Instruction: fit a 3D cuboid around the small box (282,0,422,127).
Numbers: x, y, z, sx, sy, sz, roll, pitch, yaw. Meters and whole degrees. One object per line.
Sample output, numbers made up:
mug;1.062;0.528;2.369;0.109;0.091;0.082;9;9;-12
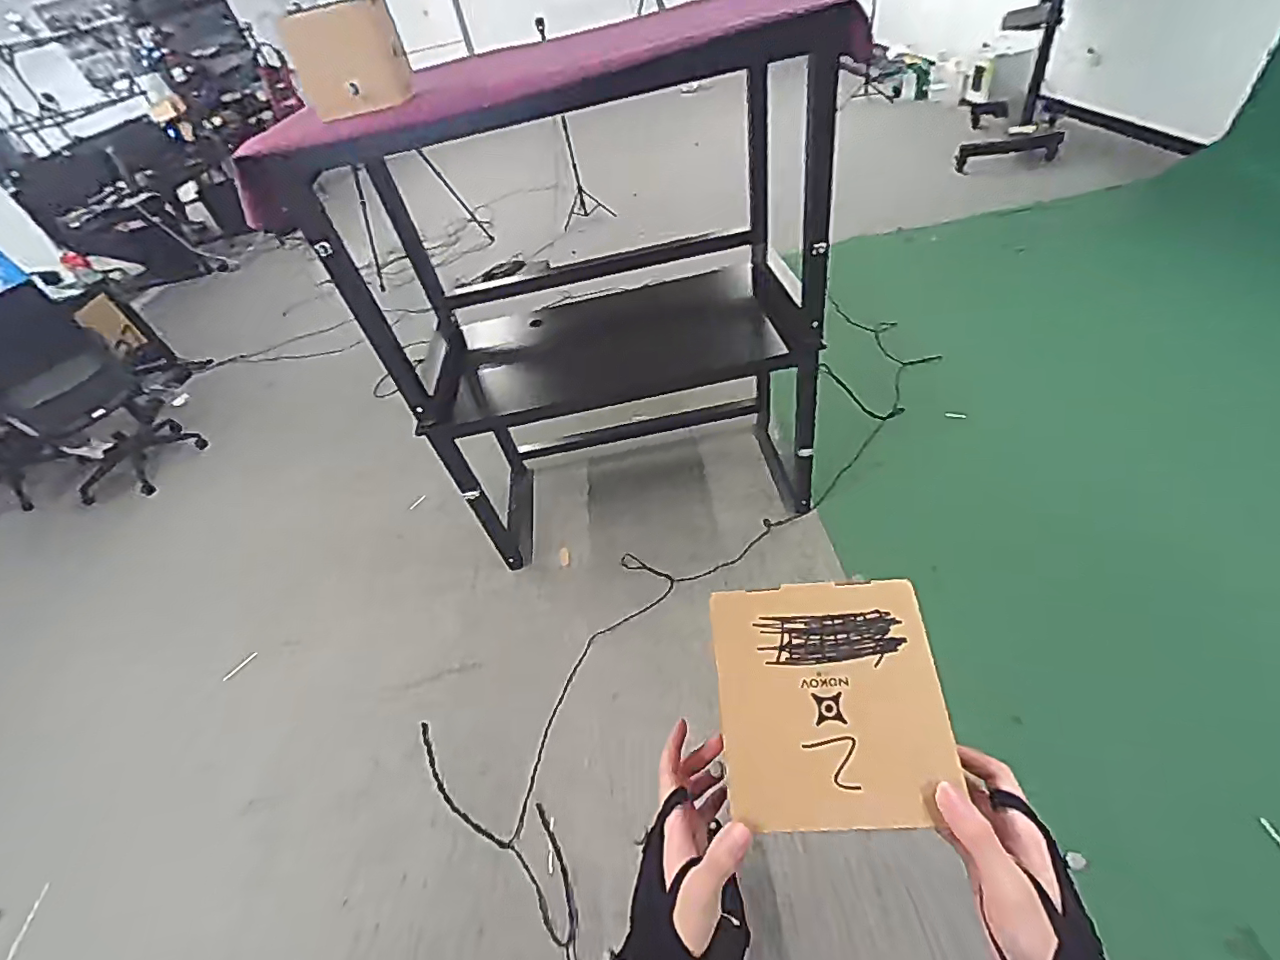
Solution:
small box;-0.570;-0.846;1.101;0.179;0.176;0.168;-13;43;1
